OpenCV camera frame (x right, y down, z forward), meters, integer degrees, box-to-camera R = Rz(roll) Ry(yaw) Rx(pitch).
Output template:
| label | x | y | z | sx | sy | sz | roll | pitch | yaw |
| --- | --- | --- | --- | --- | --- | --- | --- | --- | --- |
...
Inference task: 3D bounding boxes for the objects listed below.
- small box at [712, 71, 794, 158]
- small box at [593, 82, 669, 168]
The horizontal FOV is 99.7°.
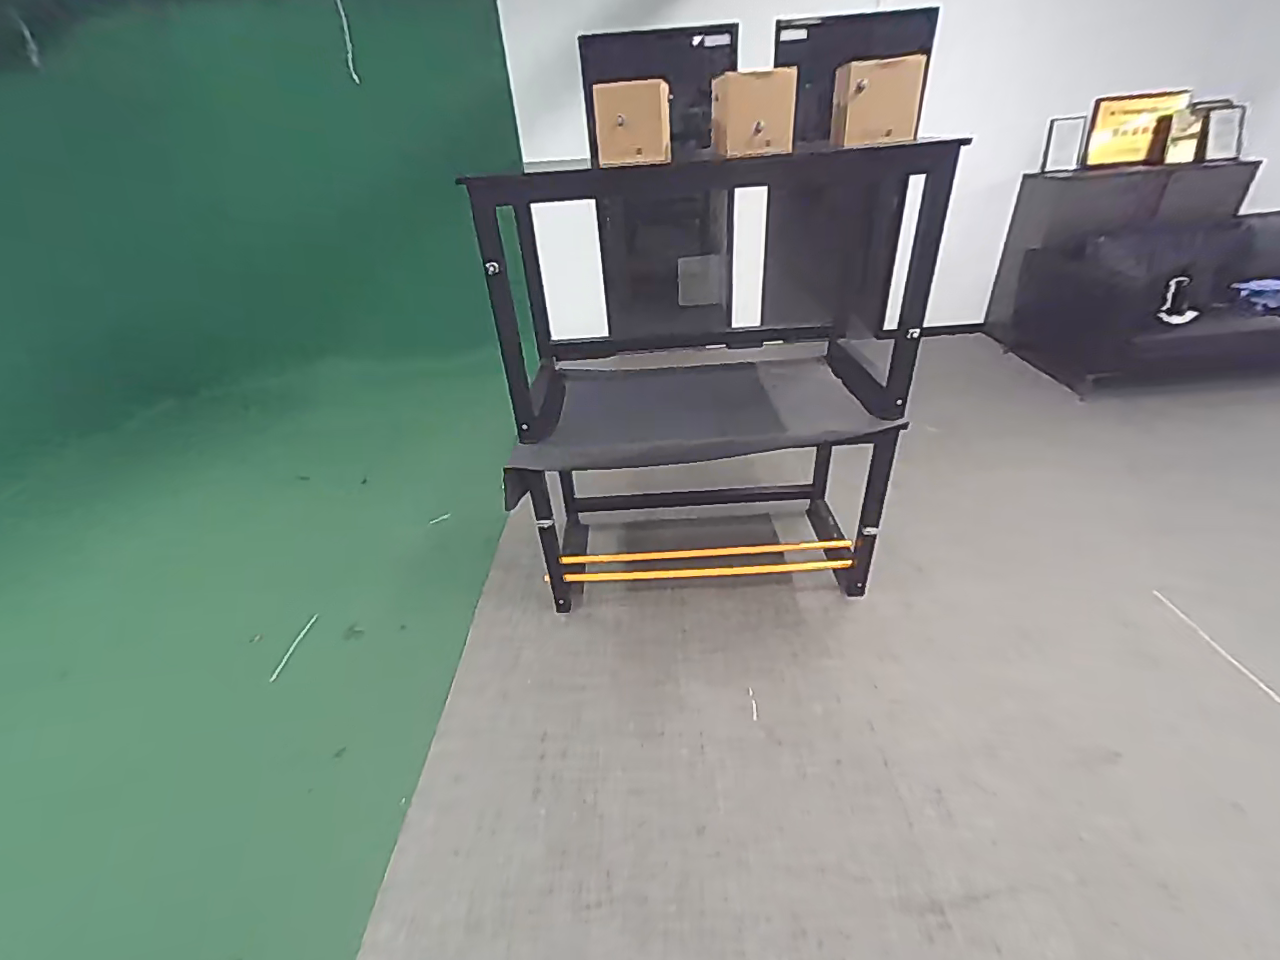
| label | x | y | z | sx | sy | sz | roll | pitch | yaw |
| --- | --- | --- | --- | --- | --- | --- | --- | --- | --- |
| small box | 0.277 | -0.919 | 1.371 | 0.168 | 0.176 | 0.179 | -7 | 32 | -2 |
| small box | -0.015 | -0.909 | 1.395 | 0.168 | 0.176 | 0.179 | 1 | 32 | 8 |
